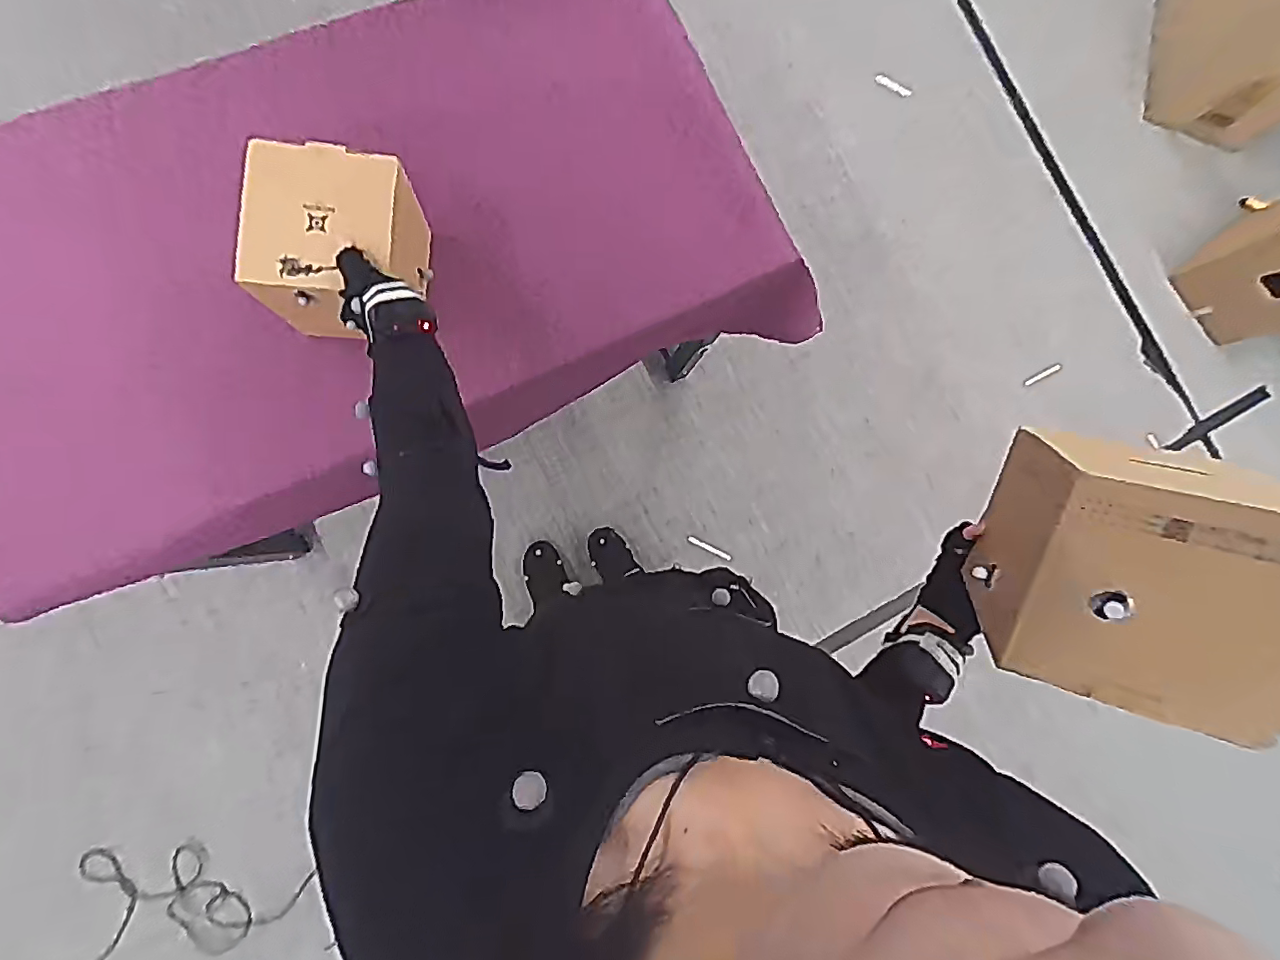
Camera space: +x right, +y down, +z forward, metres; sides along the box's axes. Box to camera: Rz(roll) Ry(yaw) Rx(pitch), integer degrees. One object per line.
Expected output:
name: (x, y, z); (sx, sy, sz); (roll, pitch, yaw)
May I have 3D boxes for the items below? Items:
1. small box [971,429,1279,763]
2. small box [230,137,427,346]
small box: (0.390, 0.066, 0.422); (0.168, 0.179, 0.176); (16, 113, 18)
small box: (-0.382, -0.293, 0.697); (0.168, 0.176, 0.179); (3, 83, -8)
